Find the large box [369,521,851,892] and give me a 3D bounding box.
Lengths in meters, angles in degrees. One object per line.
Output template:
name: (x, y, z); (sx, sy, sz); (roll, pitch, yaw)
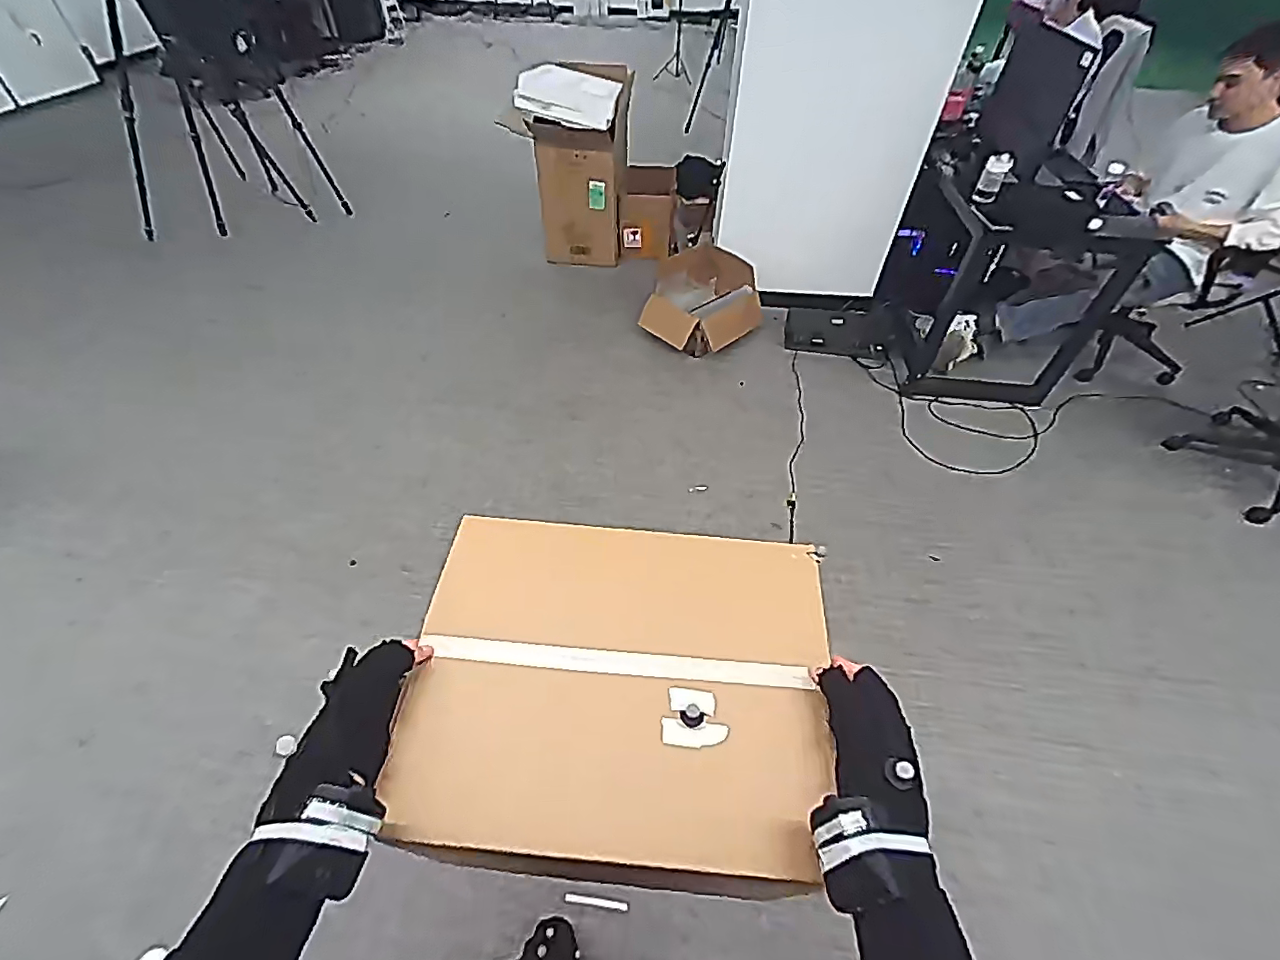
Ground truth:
large box: (-0.023, 0.275, 0.645); (0.408, 0.320, 0.320); (5, 51, 1)
